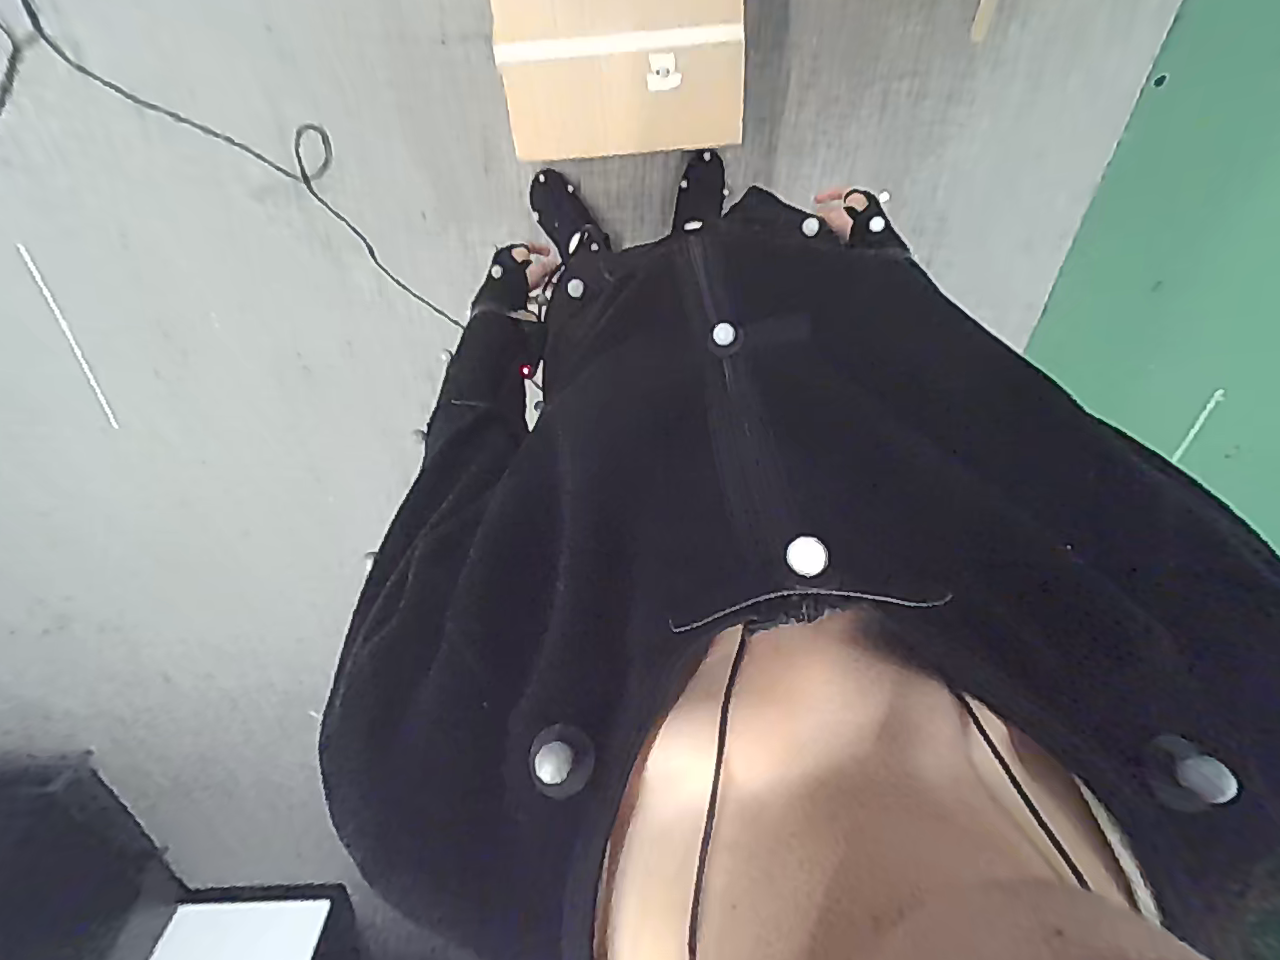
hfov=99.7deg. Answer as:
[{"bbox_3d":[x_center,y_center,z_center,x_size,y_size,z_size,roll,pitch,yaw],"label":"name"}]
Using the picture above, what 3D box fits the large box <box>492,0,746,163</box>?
[{"bbox_3d":[-0.036,-0.783,0.998,0.408,0.320,0.320,-5,121,-1],"label":"large box"}]
